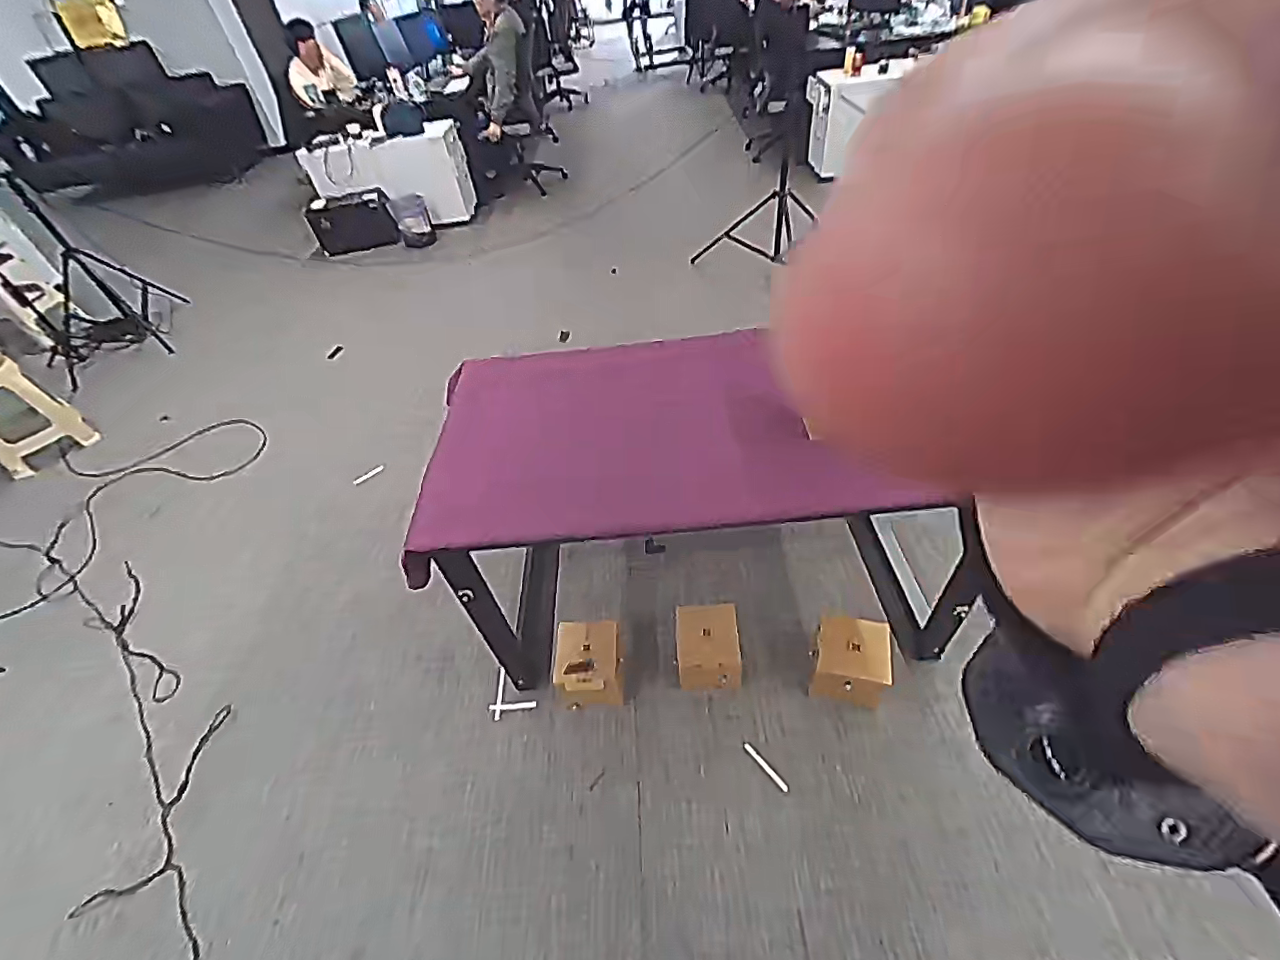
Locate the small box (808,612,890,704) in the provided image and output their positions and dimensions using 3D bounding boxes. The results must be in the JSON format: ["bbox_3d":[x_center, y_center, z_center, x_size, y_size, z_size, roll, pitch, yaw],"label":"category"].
[{"bbox_3d":[0.552,0.477,1.438,0.179,0.176,0.168,6,49,15],"label":"small box"}]

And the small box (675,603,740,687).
[{"bbox_3d":[0.185,0.463,1.502,0.168,0.176,0.179,-4,45,4],"label":"small box"}]

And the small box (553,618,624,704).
[{"bbox_3d":[-0.136,0.508,1.502,0.168,0.176,0.179,-5,45,3],"label":"small box"}]
